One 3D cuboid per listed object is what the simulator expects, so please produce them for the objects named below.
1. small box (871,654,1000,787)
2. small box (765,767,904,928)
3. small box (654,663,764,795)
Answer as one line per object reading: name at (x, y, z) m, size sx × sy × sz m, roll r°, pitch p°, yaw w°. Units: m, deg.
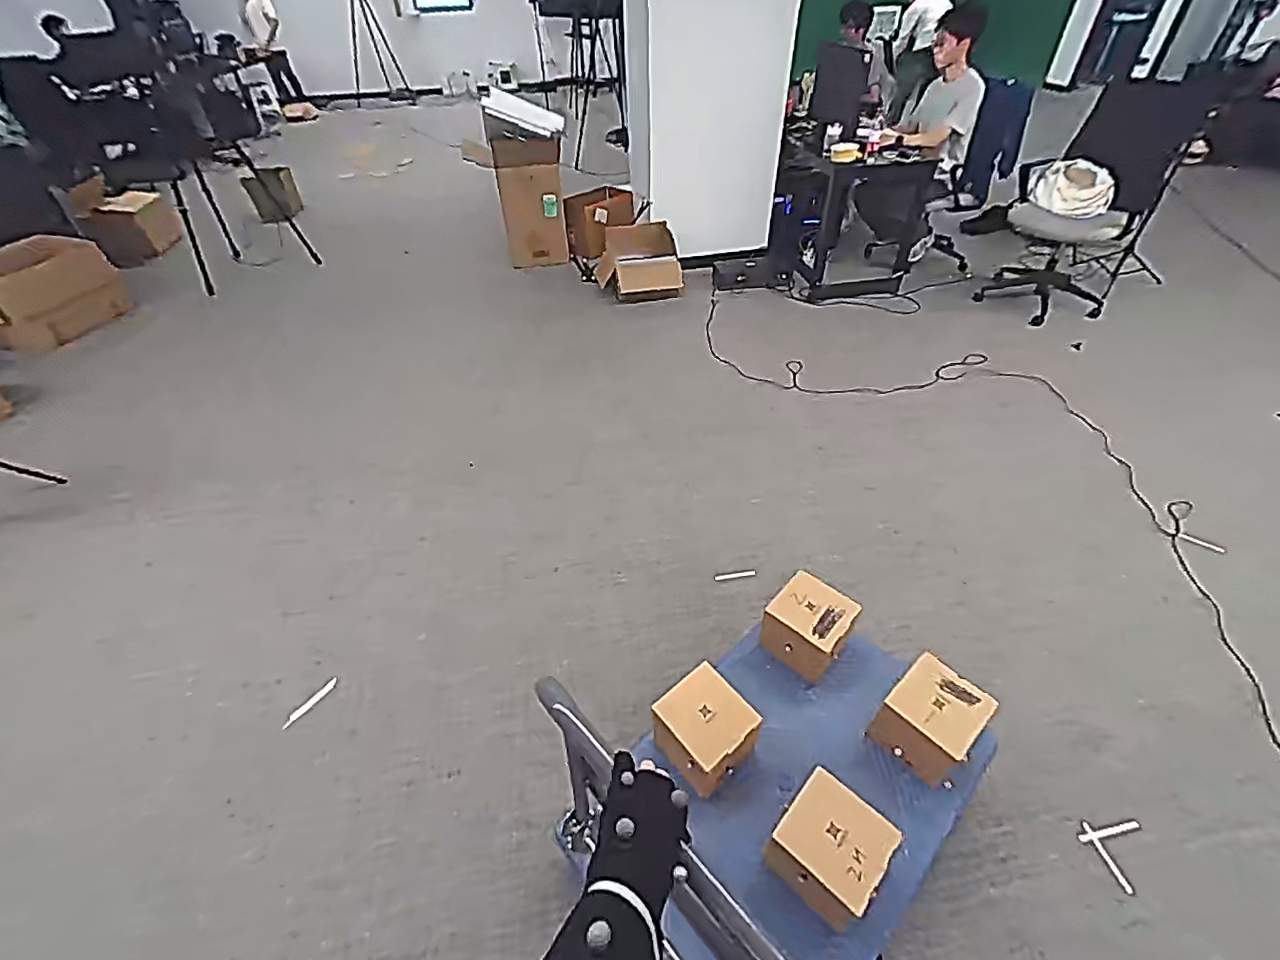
small box at (0.639, 0.530, 1.191) m, size 0.179 × 0.176 × 0.168 m, roll -33°, pitch 51°, yaw -26°
small box at (0.358, 0.699, 1.026) m, size 0.179 × 0.176 × 0.168 m, roll 33°, pitch 54°, yaw 32°
small box at (0.145, 0.550, 1.195) m, size 0.168 × 0.176 × 0.179 m, roll -30°, pitch 51°, yaw -27°
